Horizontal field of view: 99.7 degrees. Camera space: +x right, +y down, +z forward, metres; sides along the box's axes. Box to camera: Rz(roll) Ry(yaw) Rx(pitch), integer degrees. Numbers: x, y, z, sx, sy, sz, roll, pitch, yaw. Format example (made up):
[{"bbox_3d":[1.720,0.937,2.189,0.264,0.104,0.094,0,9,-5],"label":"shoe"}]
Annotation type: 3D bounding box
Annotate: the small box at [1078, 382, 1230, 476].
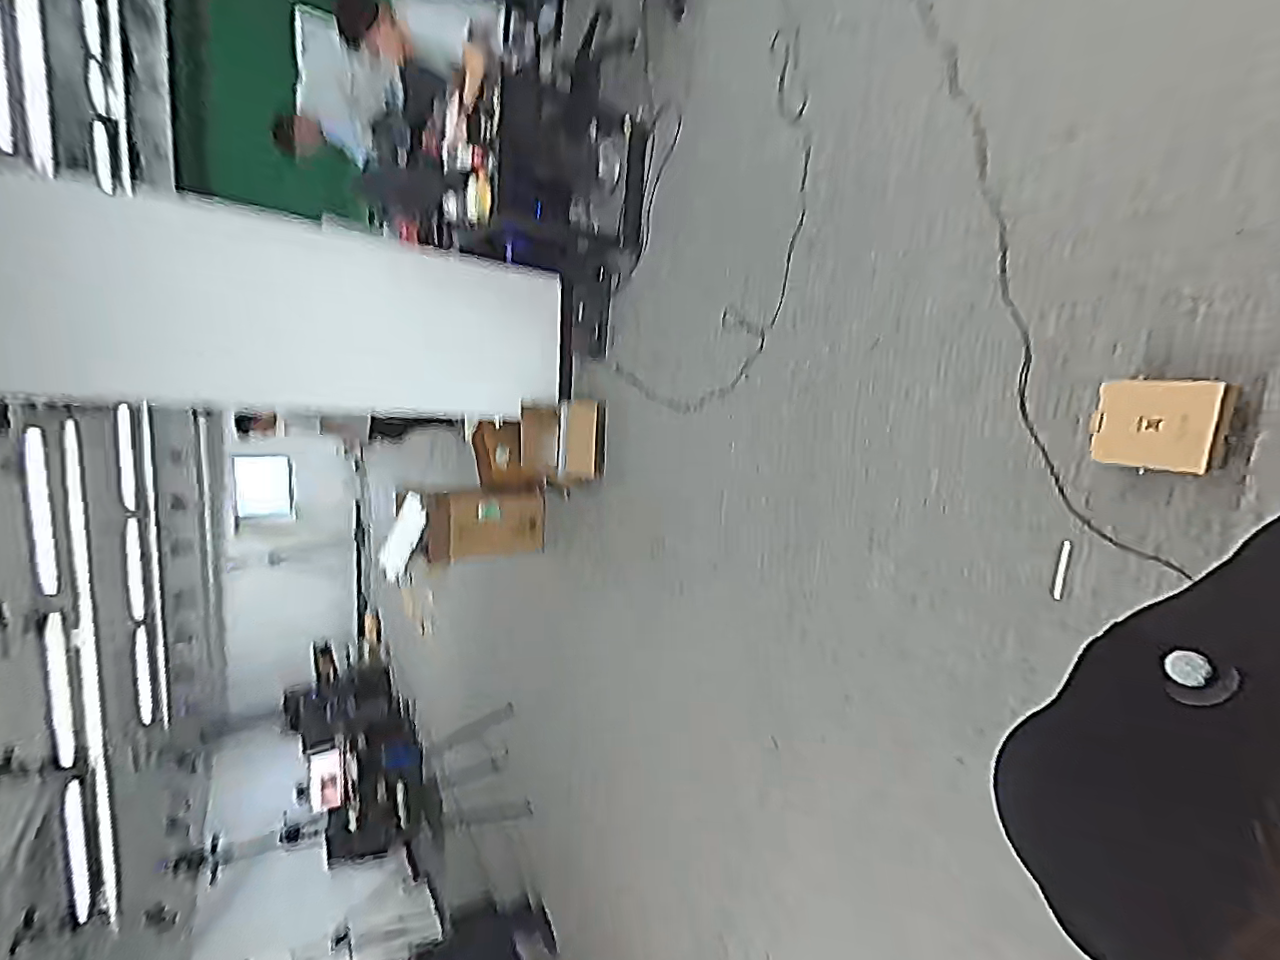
[{"bbox_3d":[1.025,-0.104,1.081,0.179,0.176,0.168,16,106,52],"label":"small box"}]
